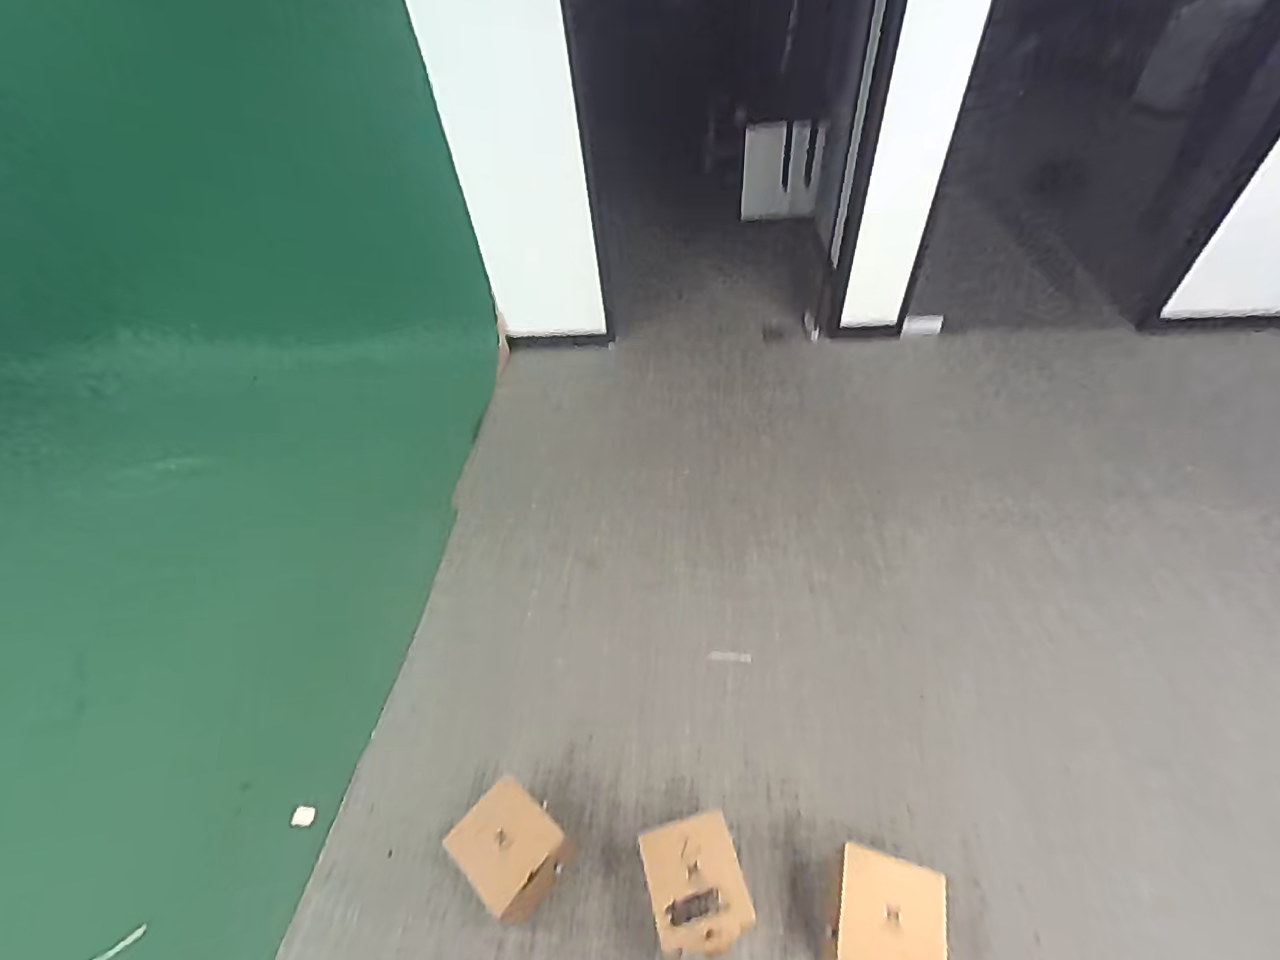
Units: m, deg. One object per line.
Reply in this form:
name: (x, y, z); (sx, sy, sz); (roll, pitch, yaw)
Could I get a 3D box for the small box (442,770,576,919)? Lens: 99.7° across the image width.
small box: (-0.247, 0.719, 1.063); (0.179, 0.176, 0.168); (29, 56, 30)

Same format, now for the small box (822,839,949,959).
small box: (0.422, 0.768, 0.945); (0.168, 0.176, 0.179); (11, 50, 16)
